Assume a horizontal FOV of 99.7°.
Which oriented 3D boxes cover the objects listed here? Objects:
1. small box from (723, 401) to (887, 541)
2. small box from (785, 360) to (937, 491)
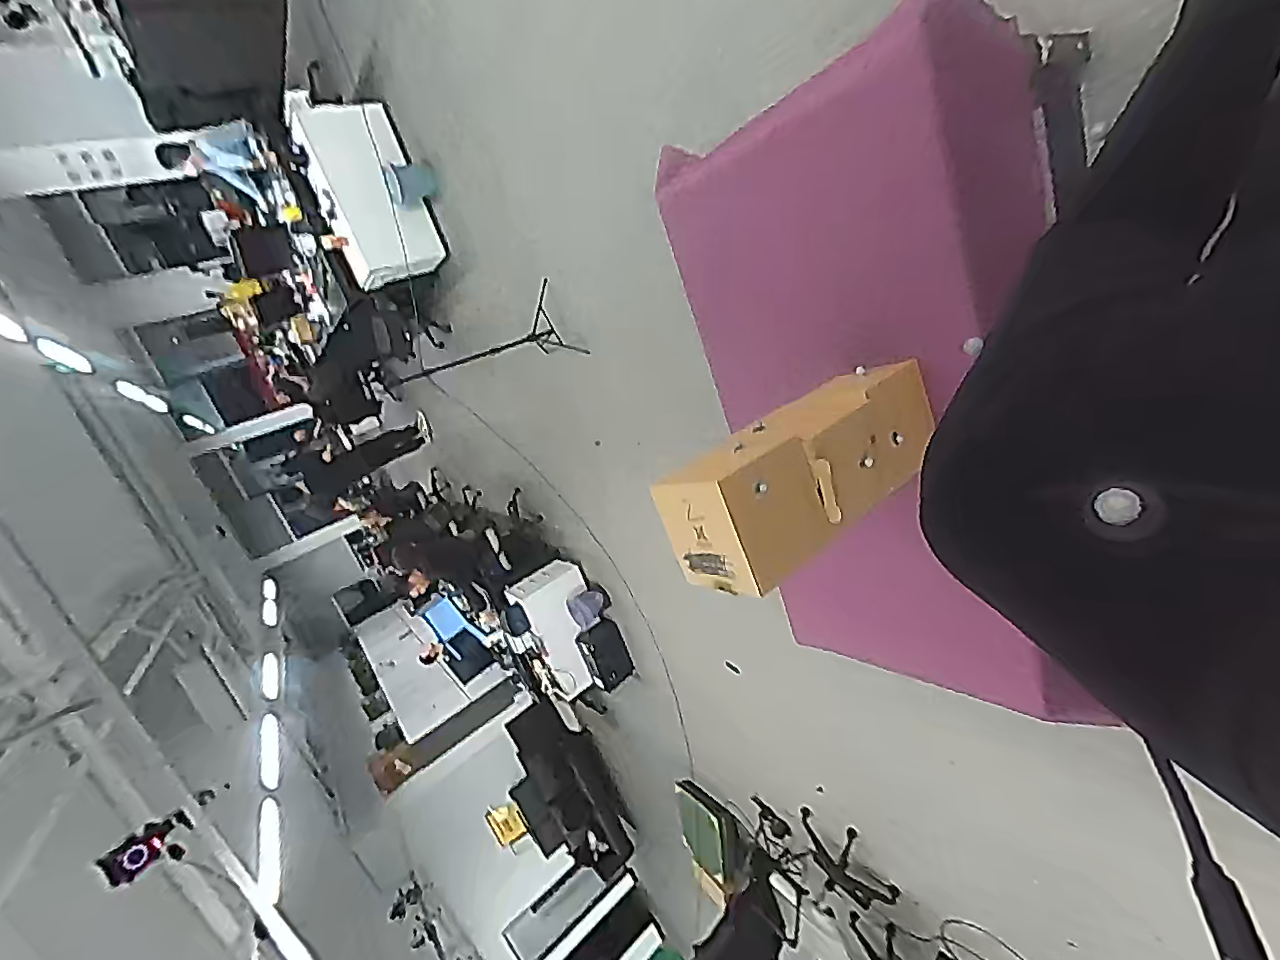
[{"bbox_3d":[0.272,-0.022,0.890,0.179,0.176,0.168,6,121,55],"label":"small box"},{"bbox_3d":[0.398,-0.093,0.968,0.168,0.176,0.179,-4,112,57],"label":"small box"}]
